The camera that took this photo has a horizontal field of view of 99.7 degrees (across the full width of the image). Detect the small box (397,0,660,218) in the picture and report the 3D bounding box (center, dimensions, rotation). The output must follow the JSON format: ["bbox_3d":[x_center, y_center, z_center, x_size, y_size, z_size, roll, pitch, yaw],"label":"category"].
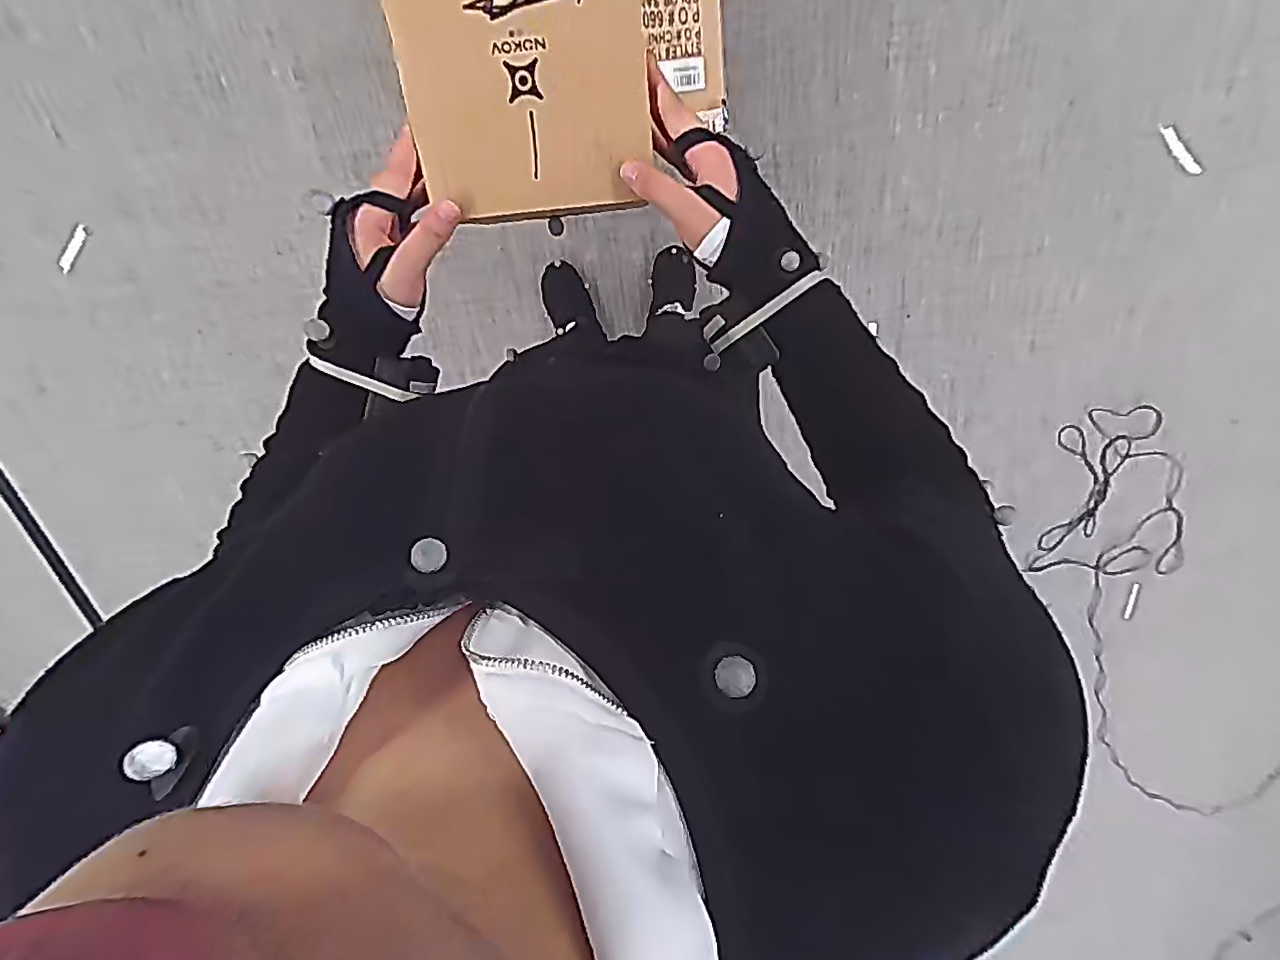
[{"bbox_3d":[-0.076,-0.314,0.434,0.168,0.176,0.179,-5,116,0],"label":"small box"}]
